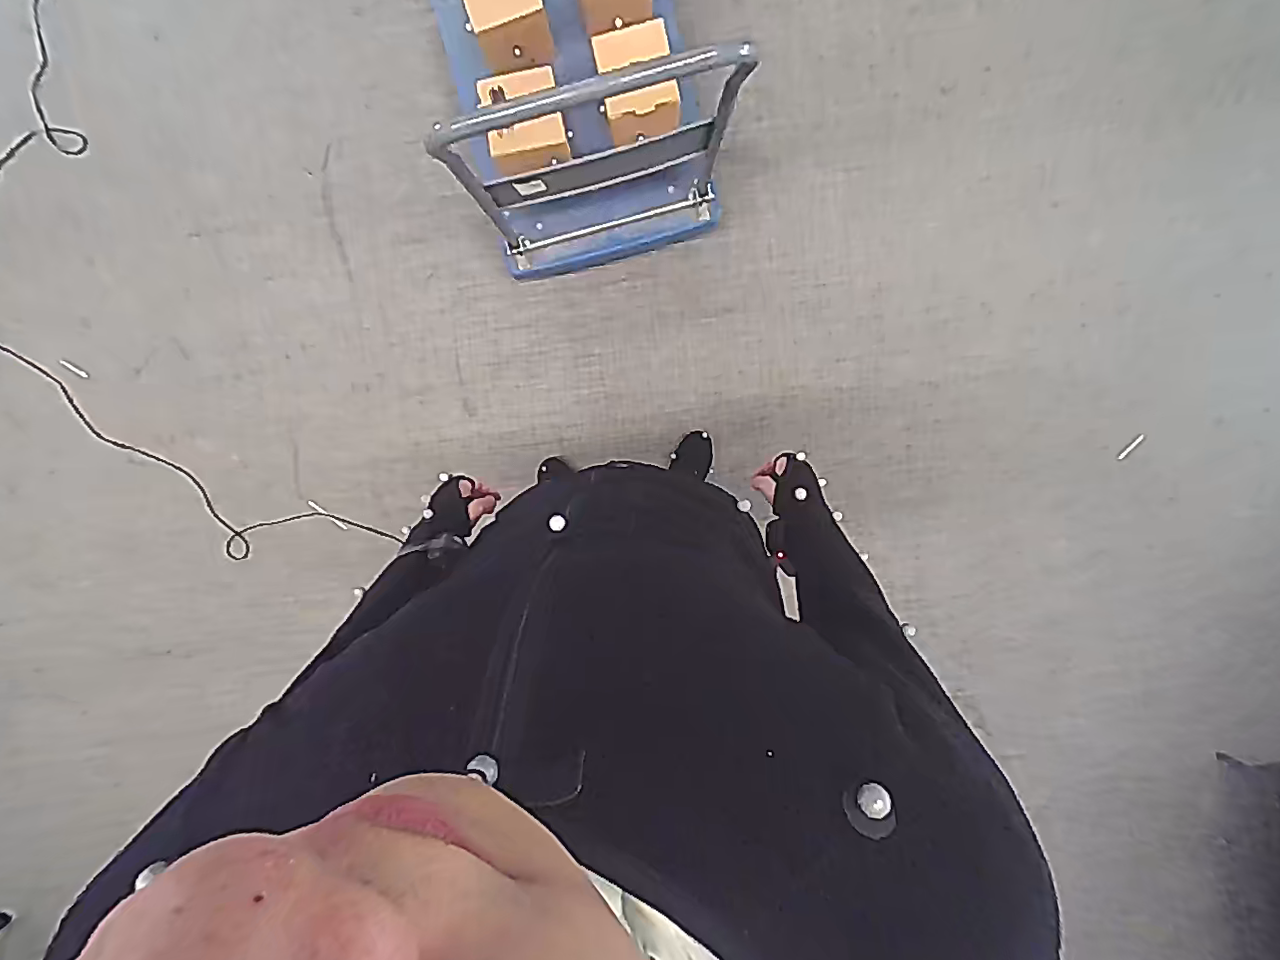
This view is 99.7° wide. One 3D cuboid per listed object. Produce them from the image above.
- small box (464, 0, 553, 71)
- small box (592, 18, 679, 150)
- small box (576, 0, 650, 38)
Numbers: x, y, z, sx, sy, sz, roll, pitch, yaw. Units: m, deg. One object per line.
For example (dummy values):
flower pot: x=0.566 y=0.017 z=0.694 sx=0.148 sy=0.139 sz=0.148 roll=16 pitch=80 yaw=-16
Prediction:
small box: x=-0.318 y=-1.113 z=1.276 sx=0.168 sy=0.176 sz=0.179 roll=-18 pitch=95 yaw=2
small box: x=-0.010 y=-0.933 z=1.289 sx=0.168 sy=0.176 sz=0.179 roll=-14 pitch=96 yaw=3
small box: x=-0.079 y=-1.193 z=1.262 sx=0.168 sy=0.176 sz=0.179 roll=-18 pitch=96 yaw=4
